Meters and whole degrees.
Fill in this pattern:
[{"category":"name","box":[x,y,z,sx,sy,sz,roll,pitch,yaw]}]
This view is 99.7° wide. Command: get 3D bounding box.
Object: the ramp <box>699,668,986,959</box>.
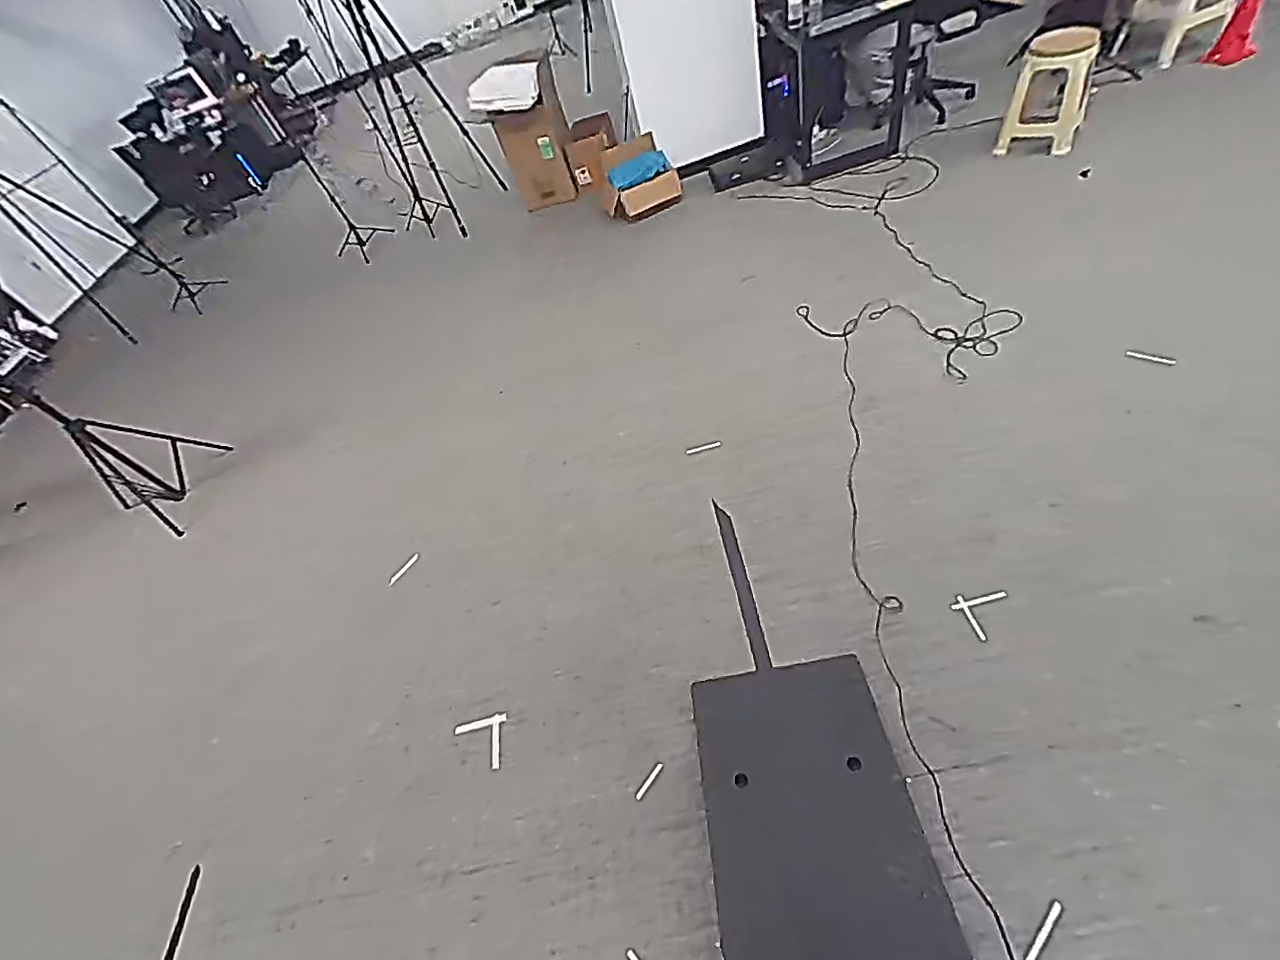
[{"category":"ramp","box":[0.432,0.908,1.196,0.509,0.206,0.991,-17,47,7]}]
